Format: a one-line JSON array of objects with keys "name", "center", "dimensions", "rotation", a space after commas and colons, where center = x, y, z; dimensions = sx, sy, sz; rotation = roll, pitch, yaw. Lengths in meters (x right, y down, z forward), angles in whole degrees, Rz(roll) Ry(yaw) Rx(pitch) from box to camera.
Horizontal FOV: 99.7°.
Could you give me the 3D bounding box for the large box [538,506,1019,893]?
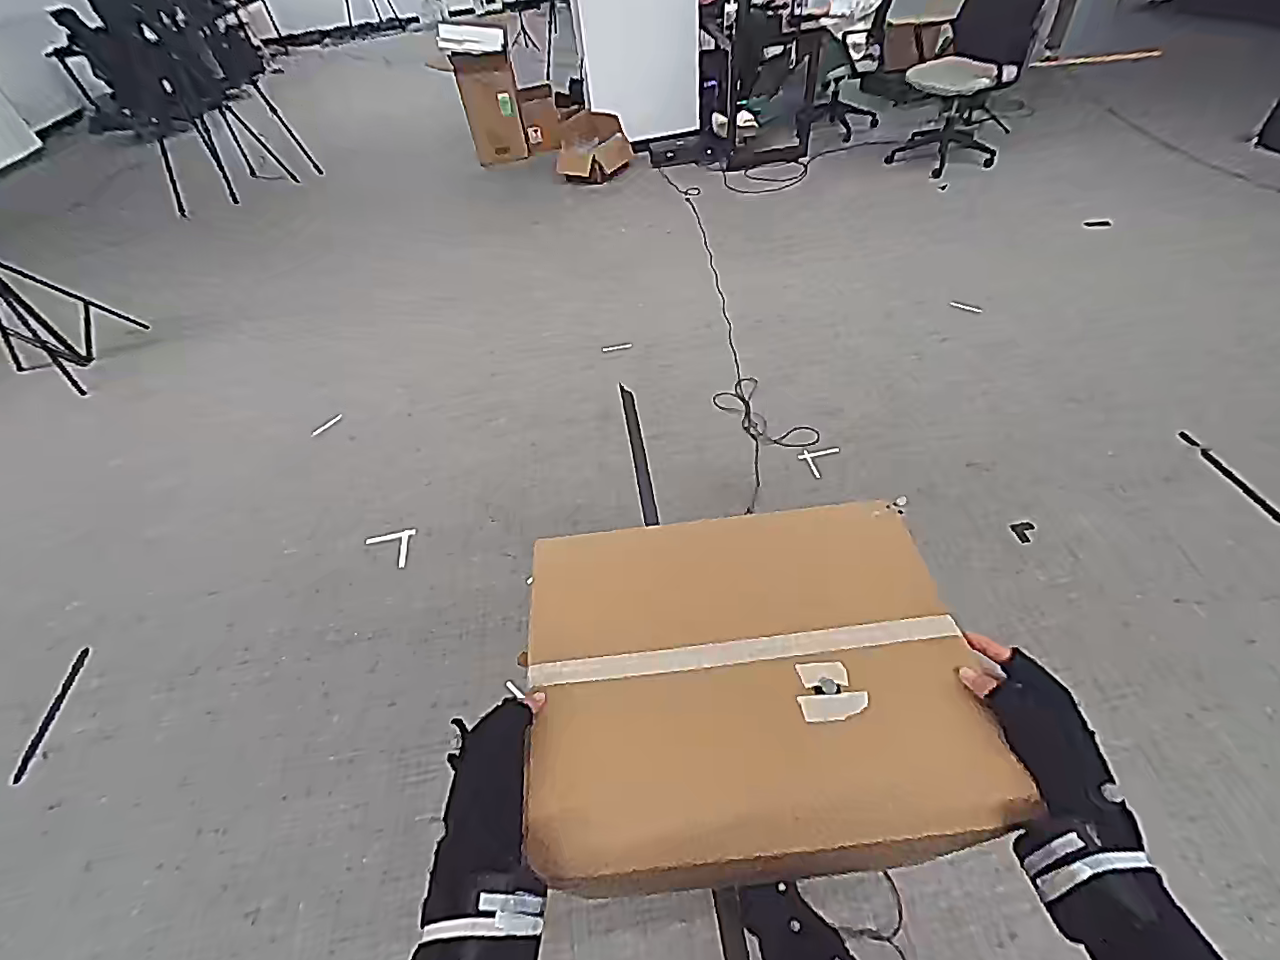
[{"name": "large box", "center": [0.108, 0.265, 0.642], "dimensions": [0.408, 0.320, 0.320], "rotation": [-7, 50, 0]}]
